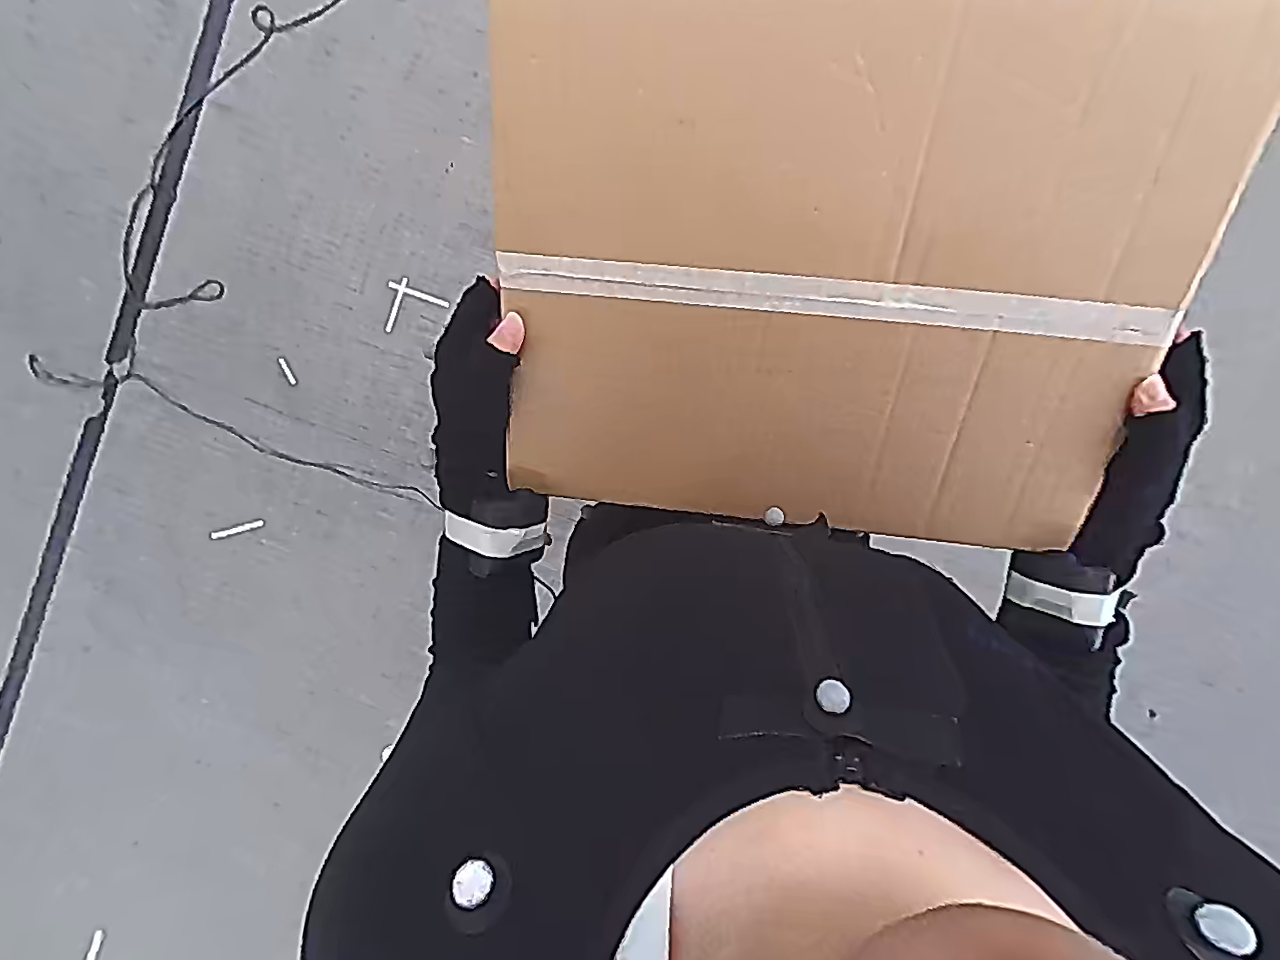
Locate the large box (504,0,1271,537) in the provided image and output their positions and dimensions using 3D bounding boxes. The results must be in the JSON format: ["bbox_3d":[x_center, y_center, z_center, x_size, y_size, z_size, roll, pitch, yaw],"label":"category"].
[{"bbox_3d":[0.125,-0.174,0.480,0.408,0.320,0.320,6,116,3],"label":"large box"}]
